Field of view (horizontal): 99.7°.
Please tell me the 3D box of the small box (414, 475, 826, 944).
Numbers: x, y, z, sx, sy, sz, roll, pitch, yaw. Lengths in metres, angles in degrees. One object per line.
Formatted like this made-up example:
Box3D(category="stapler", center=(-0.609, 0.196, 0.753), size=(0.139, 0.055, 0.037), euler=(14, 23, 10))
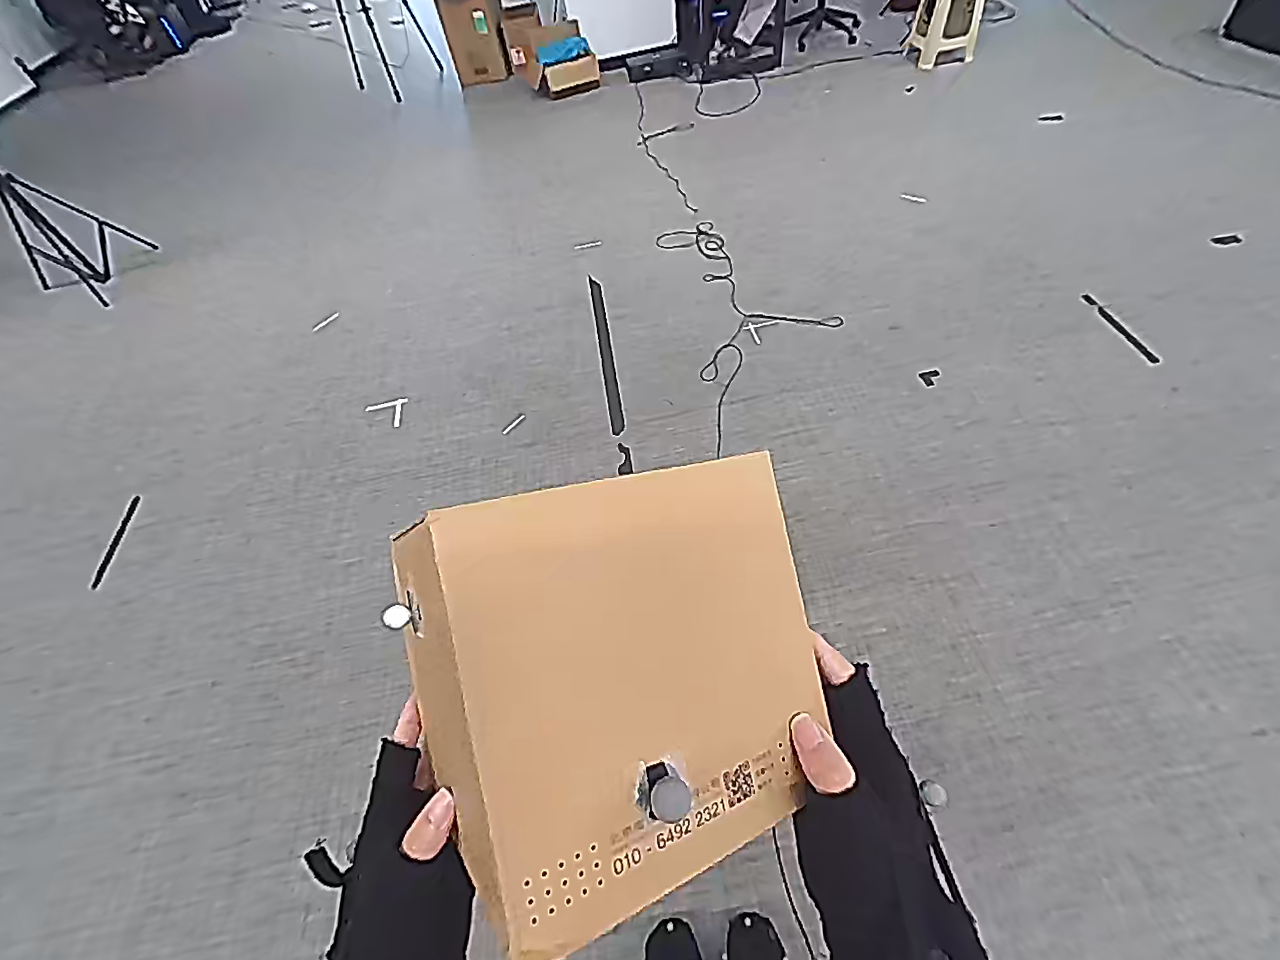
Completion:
Box3D(category="small box", center=(-0.025, 0.103, 0.315), size=(0.168, 0.179, 0.176), euler=(-11, 86, -29))
